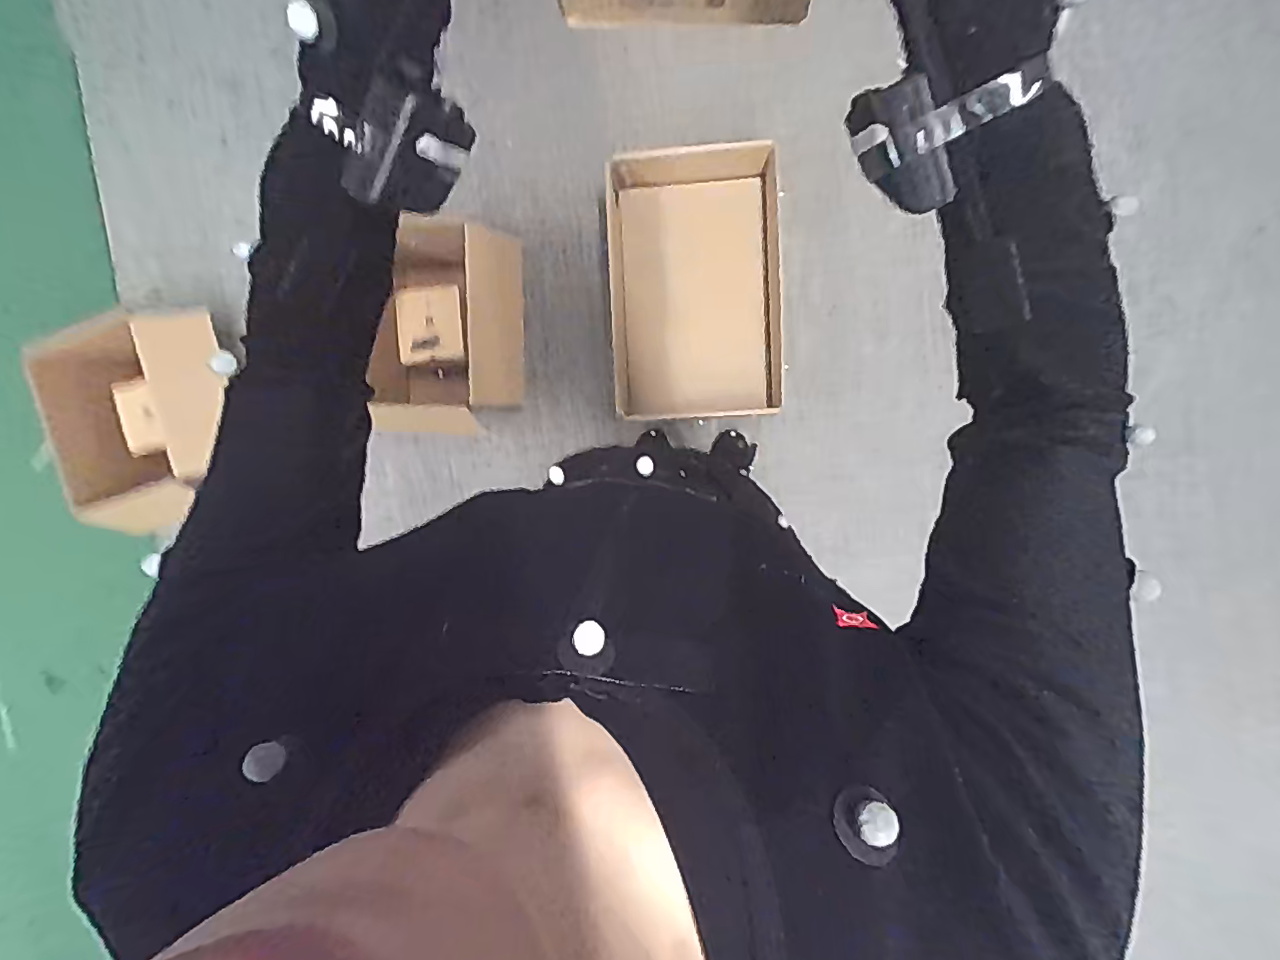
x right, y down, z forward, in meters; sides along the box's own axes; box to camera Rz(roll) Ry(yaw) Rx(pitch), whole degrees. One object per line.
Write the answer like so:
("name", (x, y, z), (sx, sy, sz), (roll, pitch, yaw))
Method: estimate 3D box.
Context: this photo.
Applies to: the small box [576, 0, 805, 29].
("small box", (0.029, -0.392, 0.285), (0.168, 0.176, 0.179), (4, 98, 5))
